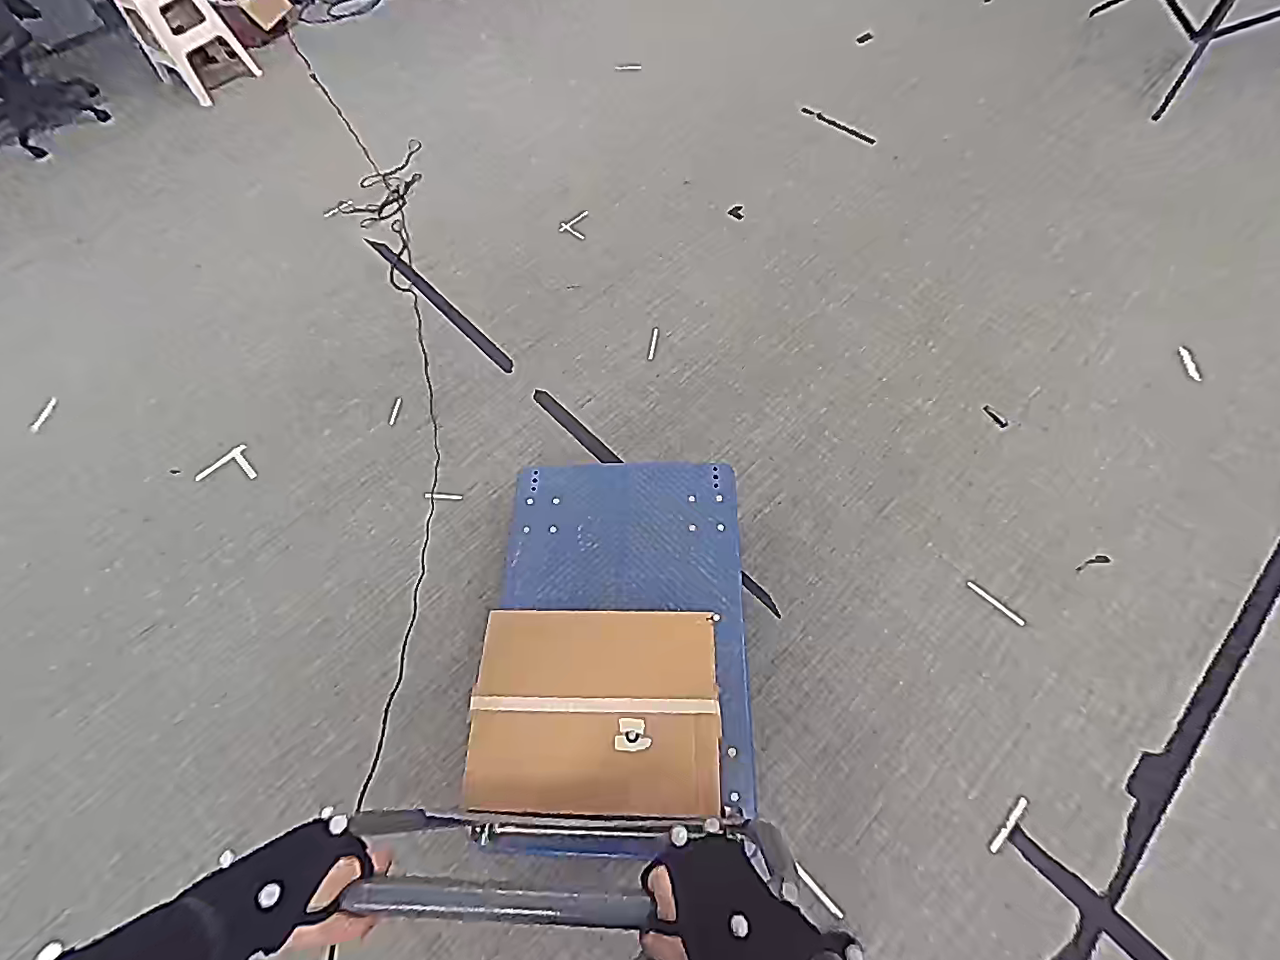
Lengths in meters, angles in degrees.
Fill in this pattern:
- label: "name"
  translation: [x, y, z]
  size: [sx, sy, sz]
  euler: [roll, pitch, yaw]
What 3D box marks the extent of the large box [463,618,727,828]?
- label: "large box"
  translation: [-0.062, 0.450, 1.002]
  size: [0.408, 0.320, 0.320]
  euler: [-1, 62, 4]
